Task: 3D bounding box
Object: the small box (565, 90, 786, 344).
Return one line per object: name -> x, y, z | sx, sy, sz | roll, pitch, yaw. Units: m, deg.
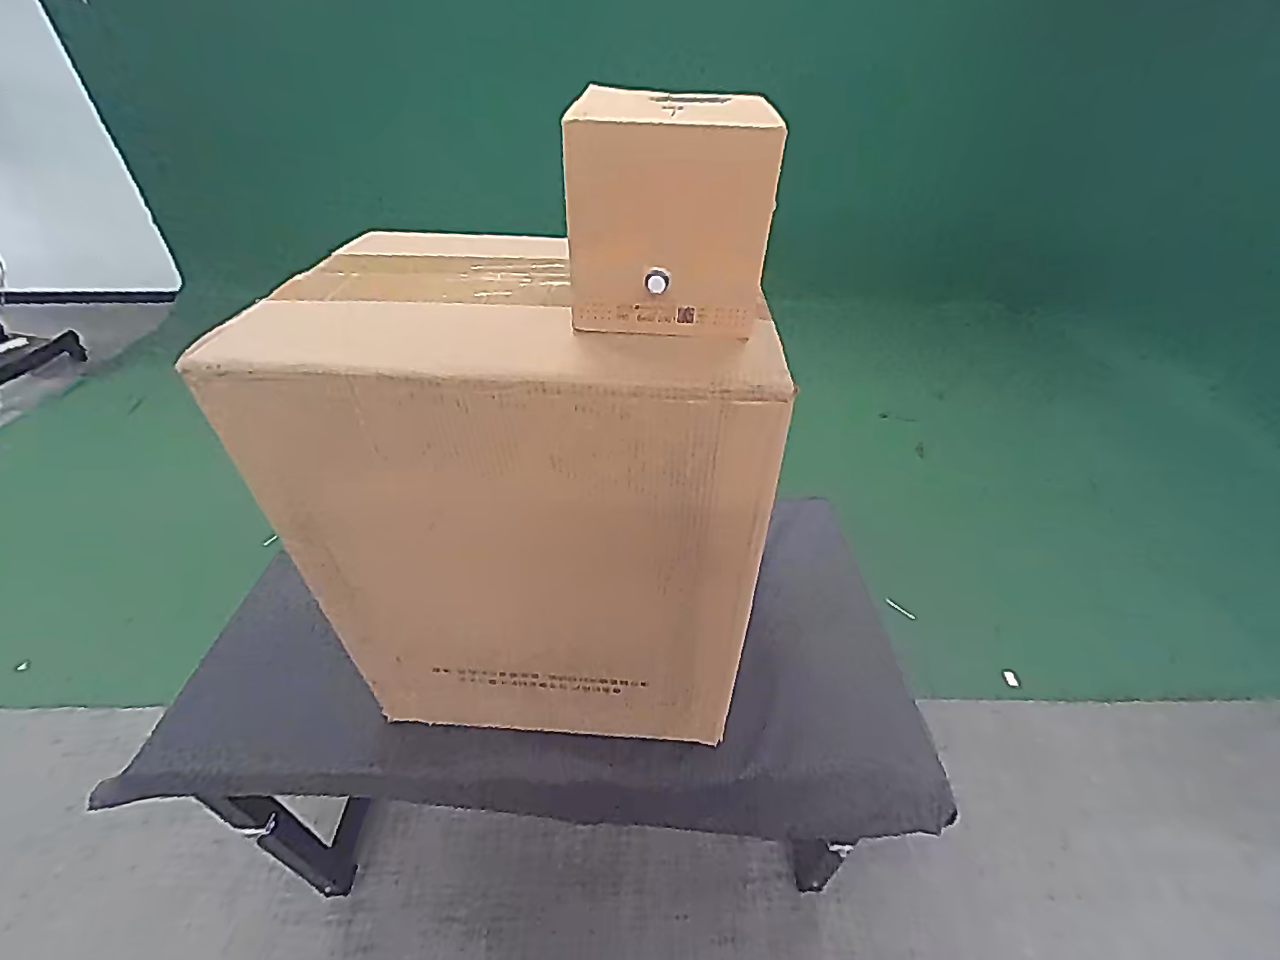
small box -> 0.027, -0.247, 0.507 | 0.168, 0.176, 0.179 | 4, 43, 1
